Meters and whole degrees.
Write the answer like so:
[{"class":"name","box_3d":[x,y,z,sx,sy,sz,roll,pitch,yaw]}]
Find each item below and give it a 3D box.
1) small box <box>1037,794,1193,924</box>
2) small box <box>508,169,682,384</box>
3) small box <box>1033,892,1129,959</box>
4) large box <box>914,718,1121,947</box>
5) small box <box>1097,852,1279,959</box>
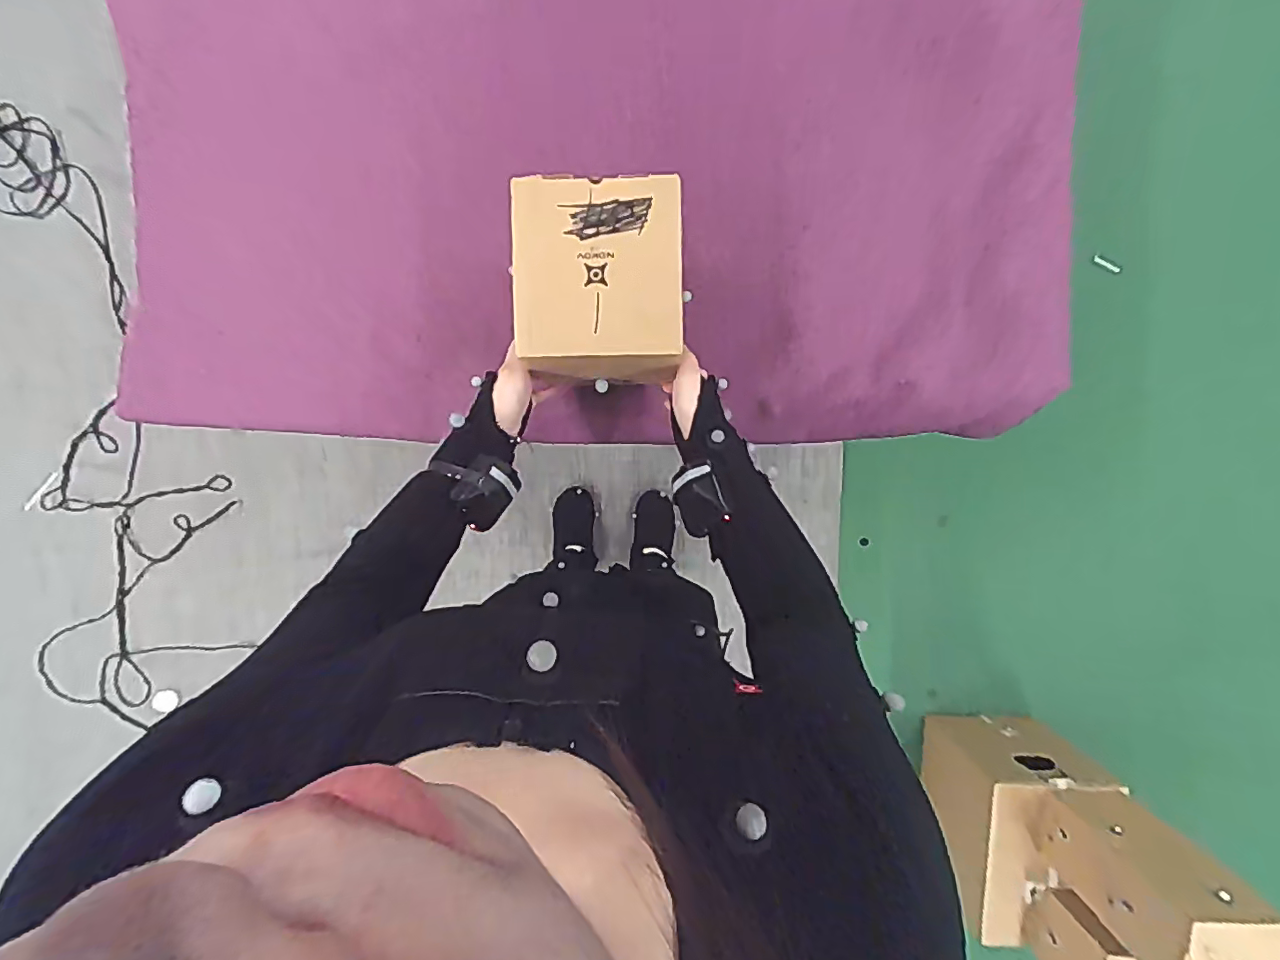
[{"class":"small box","box_3d":[0.996,0.797,1.147,0.179,0.176,0.168,2,95,0]},{"class":"small box","box_3d":[-0.043,-0.205,0.587,0.168,0.176,0.179,0,92,1]},{"class":"small box","box_3d":[0.993,1.045,1.165,0.168,0.176,0.179,7,94,-1]},{"class":"large box","box_3d":[0.943,0.880,1.397,0.320,0.320,0.408,2,96,1]},{"class":"small box","box_3d":[0.993,0.814,0.983,0.179,0.176,0.168,1,95,0]}]
